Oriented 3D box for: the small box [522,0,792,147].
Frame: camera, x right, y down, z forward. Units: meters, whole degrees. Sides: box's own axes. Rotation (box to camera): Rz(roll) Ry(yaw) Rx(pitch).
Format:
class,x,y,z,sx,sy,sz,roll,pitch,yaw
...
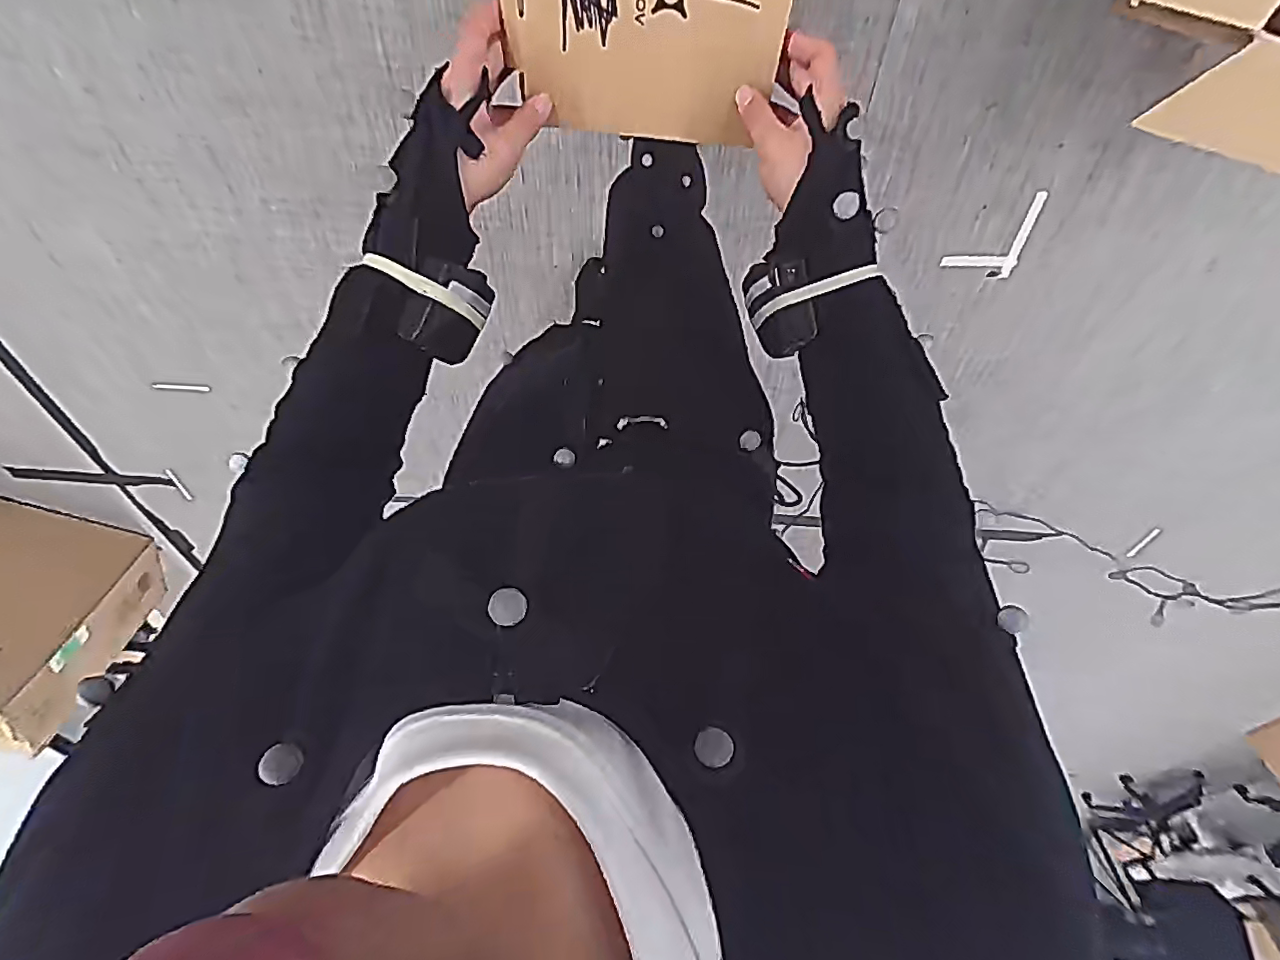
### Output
class,x,y,z,sx,sy,sz,roll,pitch,yaw
small box,0.010,-0.371,0.399,0.179,0.176,0.168,3,136,-6
